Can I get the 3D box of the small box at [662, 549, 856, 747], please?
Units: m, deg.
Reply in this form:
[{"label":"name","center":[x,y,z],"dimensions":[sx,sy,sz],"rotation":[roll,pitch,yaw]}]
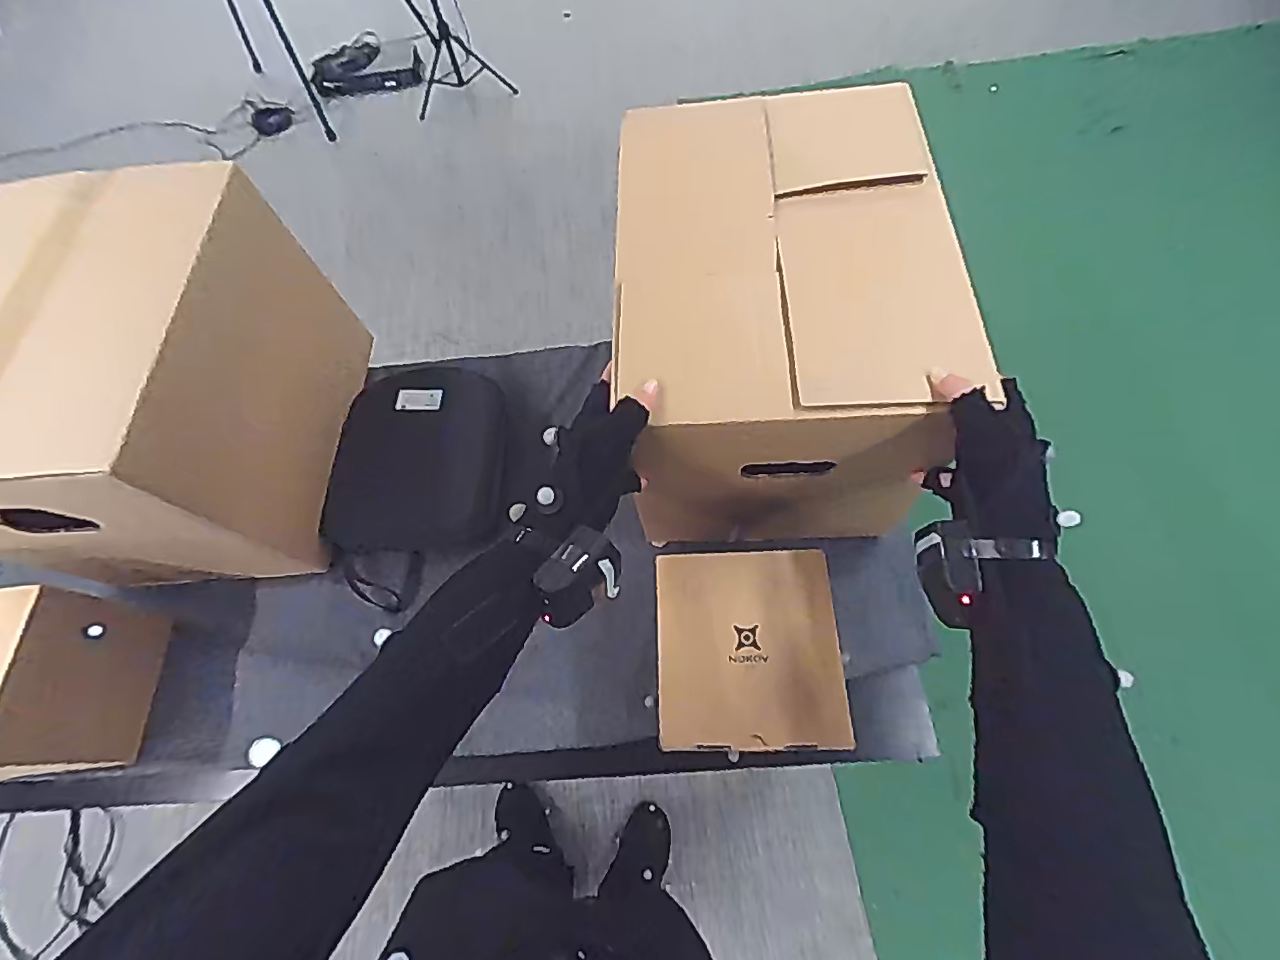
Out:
[{"label":"small box","center":[0.108,0.182,0.569],"dimensions":[0.168,0.176,0.179],"rotation":[-3,65,4]}]
